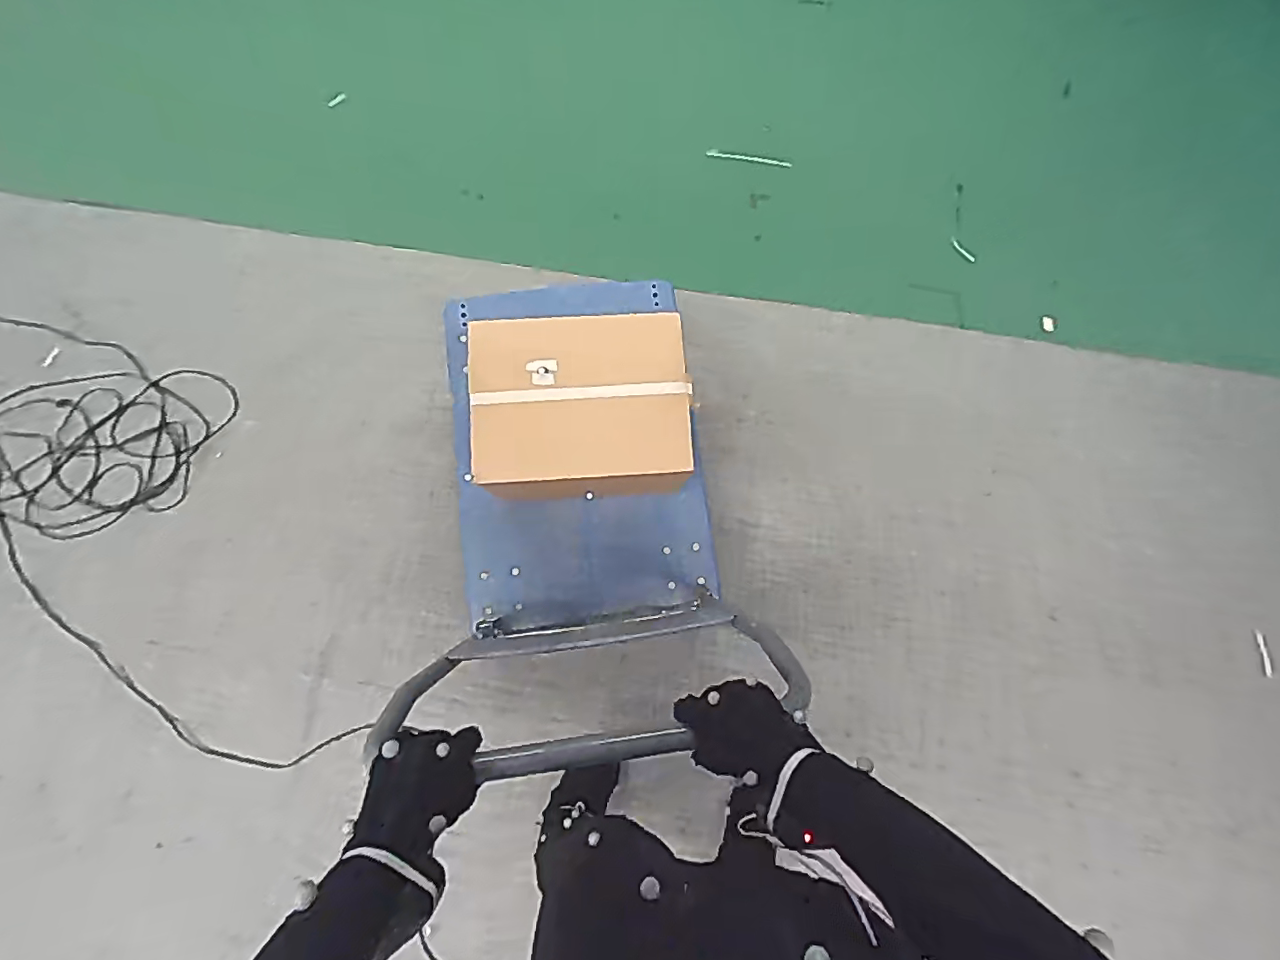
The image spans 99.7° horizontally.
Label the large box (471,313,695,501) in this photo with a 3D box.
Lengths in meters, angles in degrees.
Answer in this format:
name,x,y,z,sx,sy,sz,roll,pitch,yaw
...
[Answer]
name,x,y,z,sx,sy,sz,roll,pitch,yaw
large box,-0.111,-0.133,1.151,0.408,0.320,0.320,-4,81,-2
